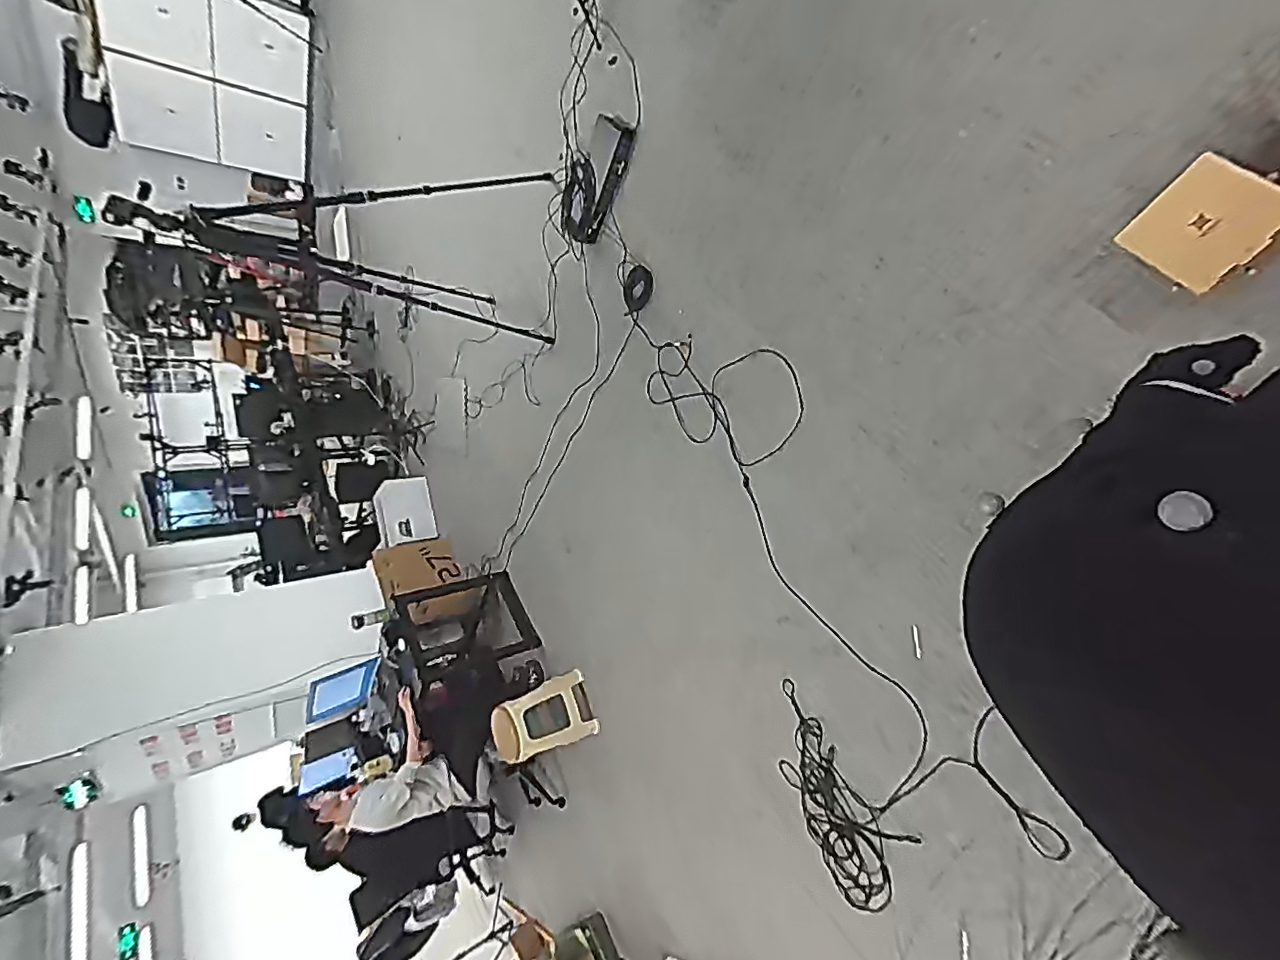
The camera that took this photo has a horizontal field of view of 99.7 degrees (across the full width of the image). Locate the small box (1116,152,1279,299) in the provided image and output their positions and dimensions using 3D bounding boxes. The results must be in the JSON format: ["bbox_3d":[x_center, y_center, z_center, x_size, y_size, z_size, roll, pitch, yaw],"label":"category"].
[{"bbox_3d":[1.019,-0.443,0.968,0.179,0.176,0.168,57,134,27],"label":"small box"}]
